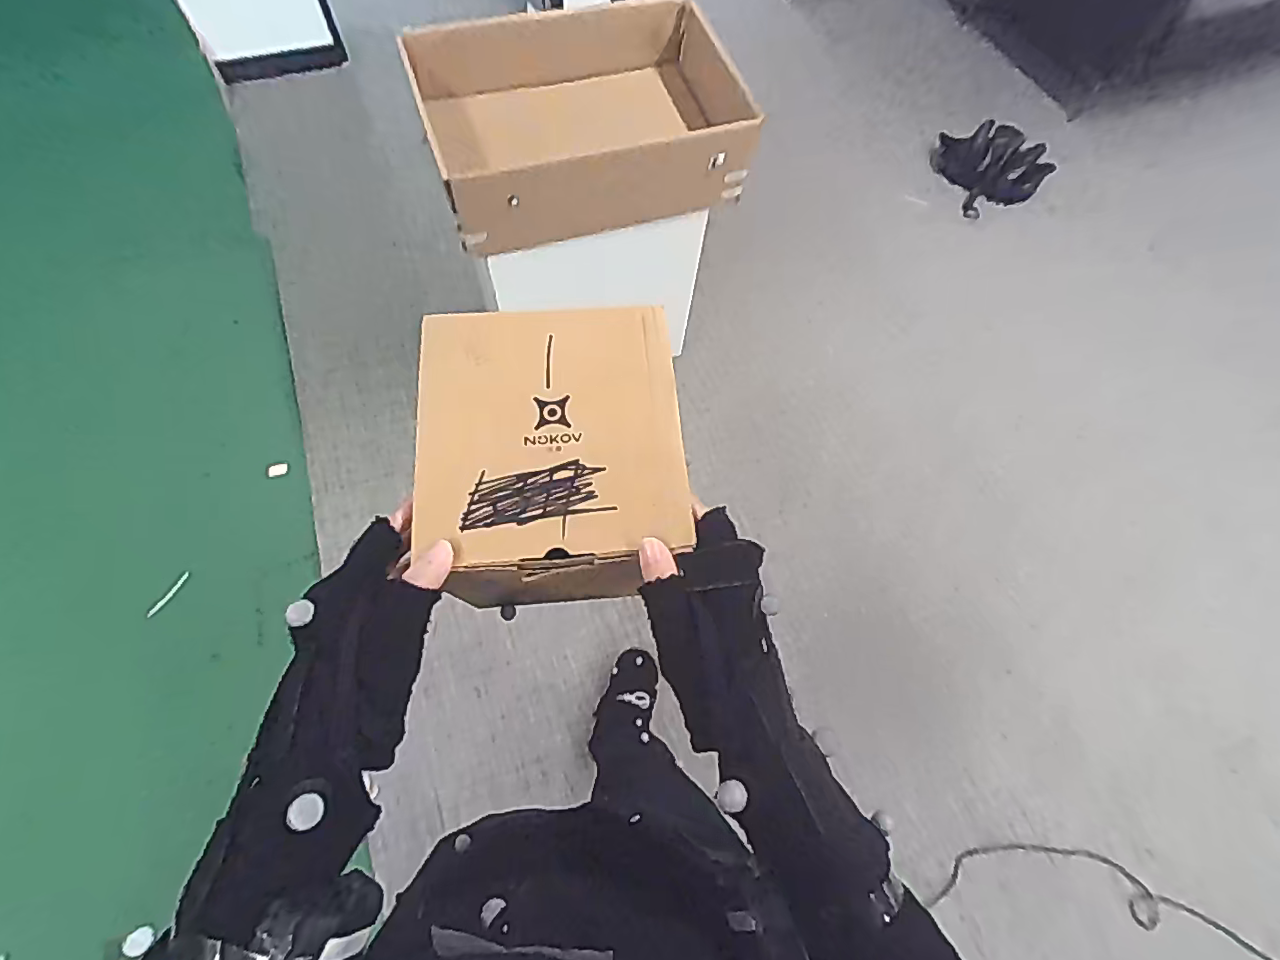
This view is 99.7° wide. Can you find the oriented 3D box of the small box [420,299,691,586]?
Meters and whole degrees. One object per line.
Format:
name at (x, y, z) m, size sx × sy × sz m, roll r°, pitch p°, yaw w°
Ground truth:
small box at (-0.057, -0.015, 0.422) m, size 0.168 × 0.176 × 0.179 m, roll -3°, pitch 70°, yaw -4°
